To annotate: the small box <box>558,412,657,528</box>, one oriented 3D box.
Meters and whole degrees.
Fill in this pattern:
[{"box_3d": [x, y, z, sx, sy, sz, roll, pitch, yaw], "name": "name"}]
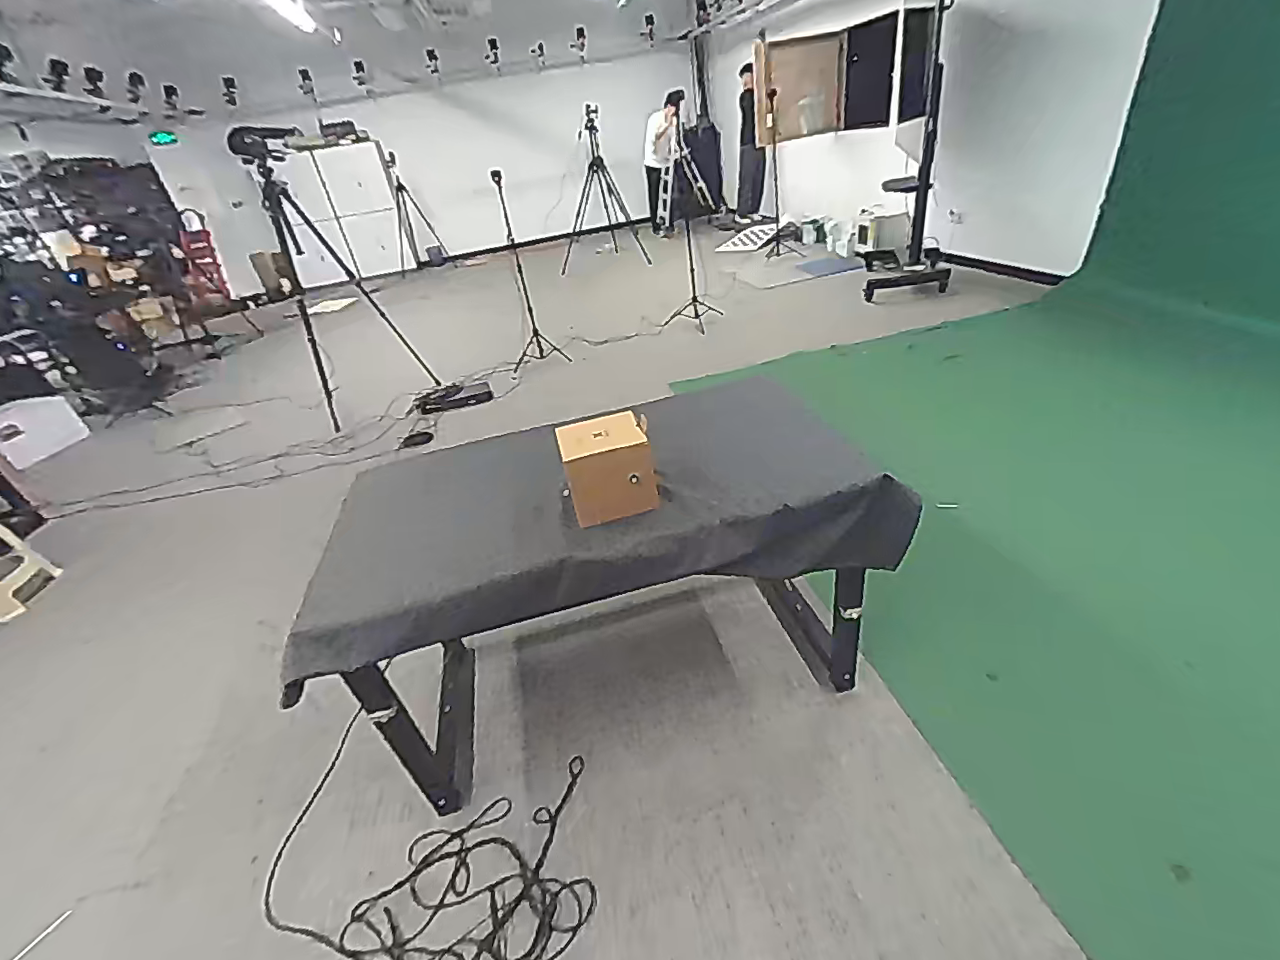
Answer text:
[{"box_3d": [-0.067, -0.023, 1.168, 0.179, 0.176, 0.168, -15, 31, -7], "name": "small box"}]
